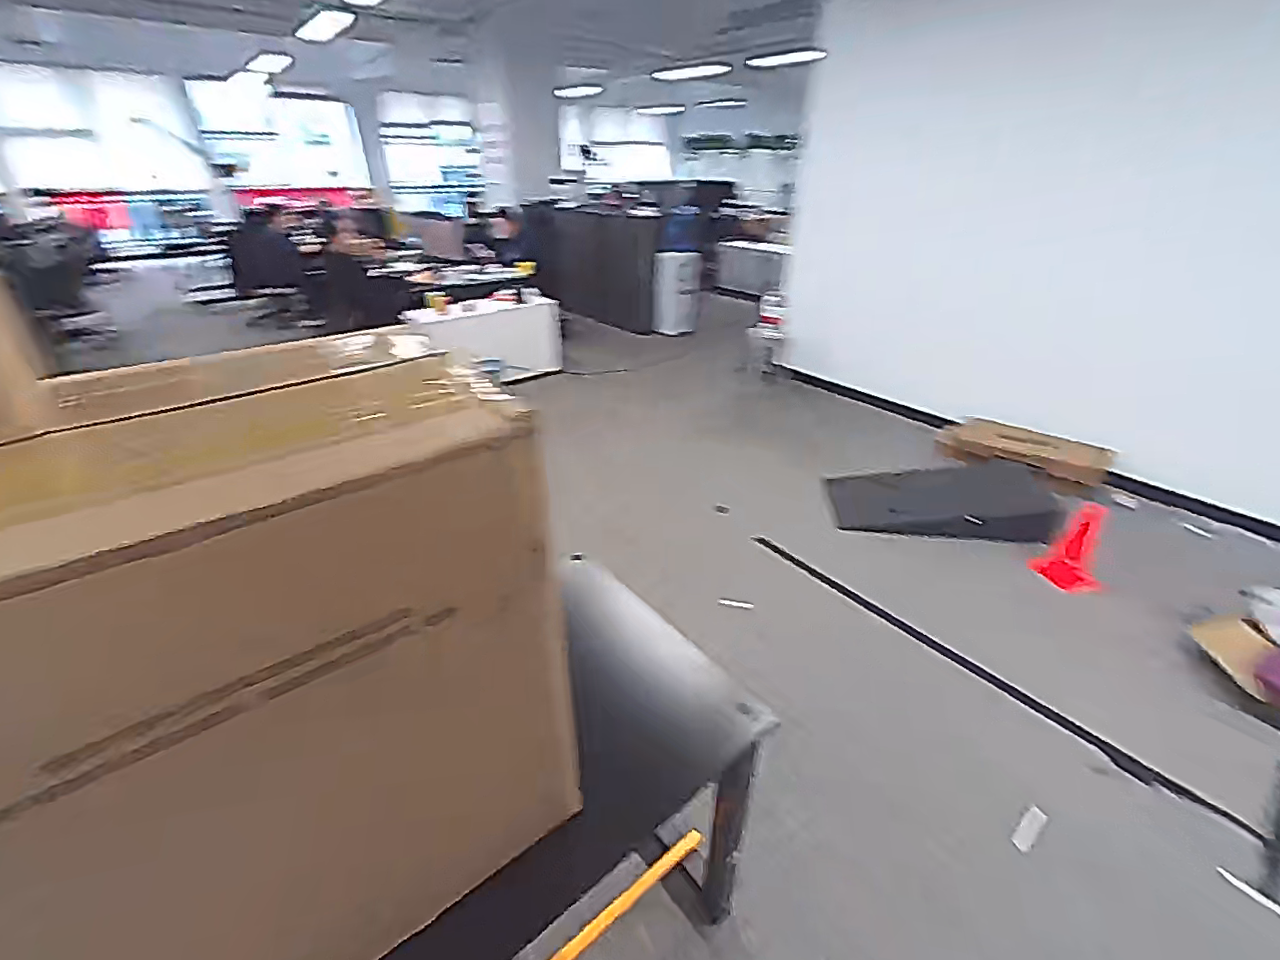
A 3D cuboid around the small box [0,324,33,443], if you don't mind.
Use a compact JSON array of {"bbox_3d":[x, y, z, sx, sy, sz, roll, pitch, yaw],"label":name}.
[{"bbox_3d":[-0.597,-0.106,0.390,0.168,0.176,0.179,-24,36,-35],"label":"small box"}]
